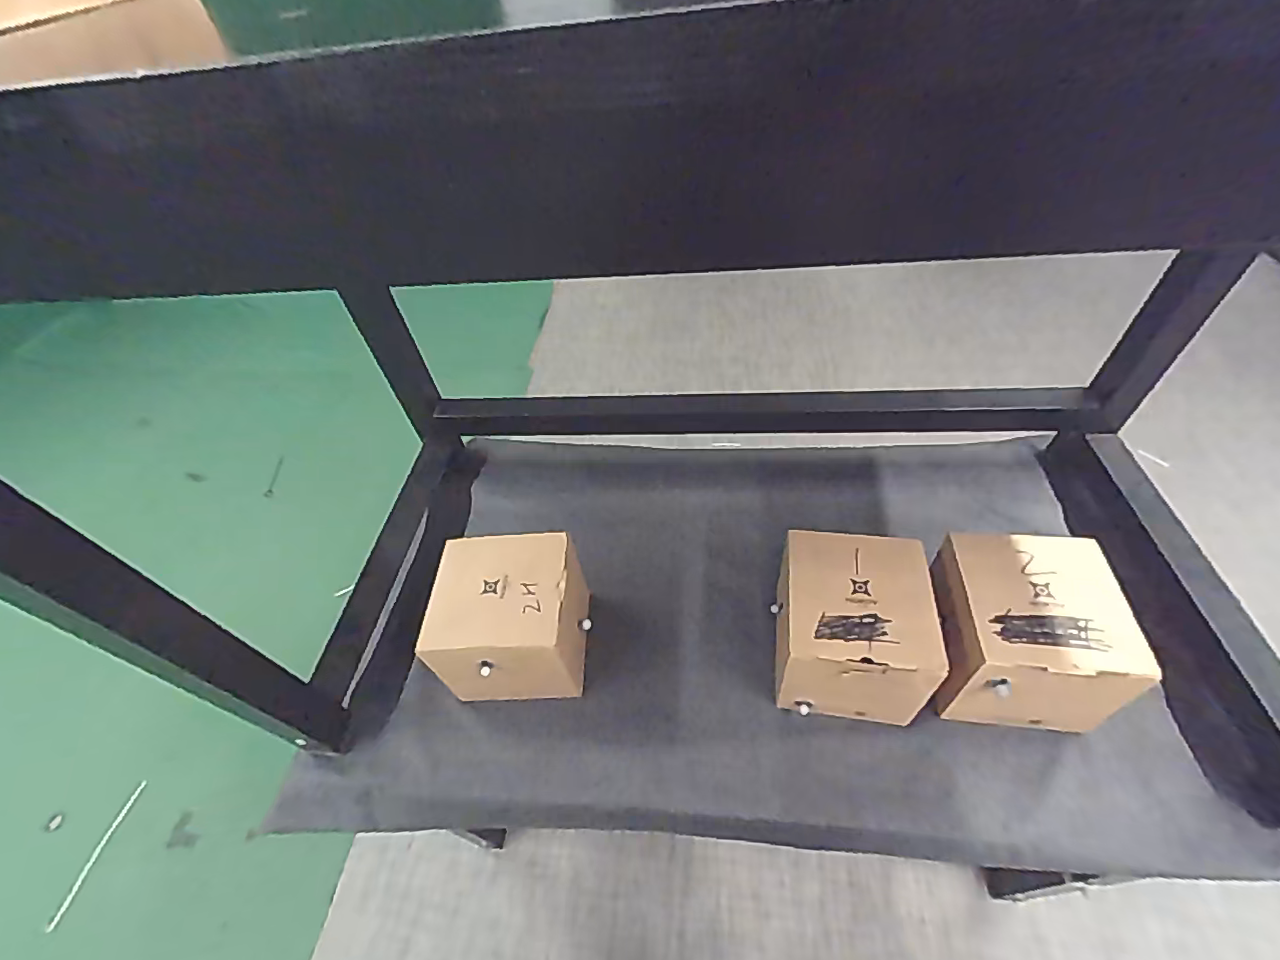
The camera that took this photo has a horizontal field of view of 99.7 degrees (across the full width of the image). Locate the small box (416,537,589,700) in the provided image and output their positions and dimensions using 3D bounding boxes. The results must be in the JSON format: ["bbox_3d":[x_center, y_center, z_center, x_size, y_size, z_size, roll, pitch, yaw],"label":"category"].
[{"bbox_3d":[-0.176,0.197,0.756,0.179,0.176,0.168,-3,49,4],"label":"small box"}]
